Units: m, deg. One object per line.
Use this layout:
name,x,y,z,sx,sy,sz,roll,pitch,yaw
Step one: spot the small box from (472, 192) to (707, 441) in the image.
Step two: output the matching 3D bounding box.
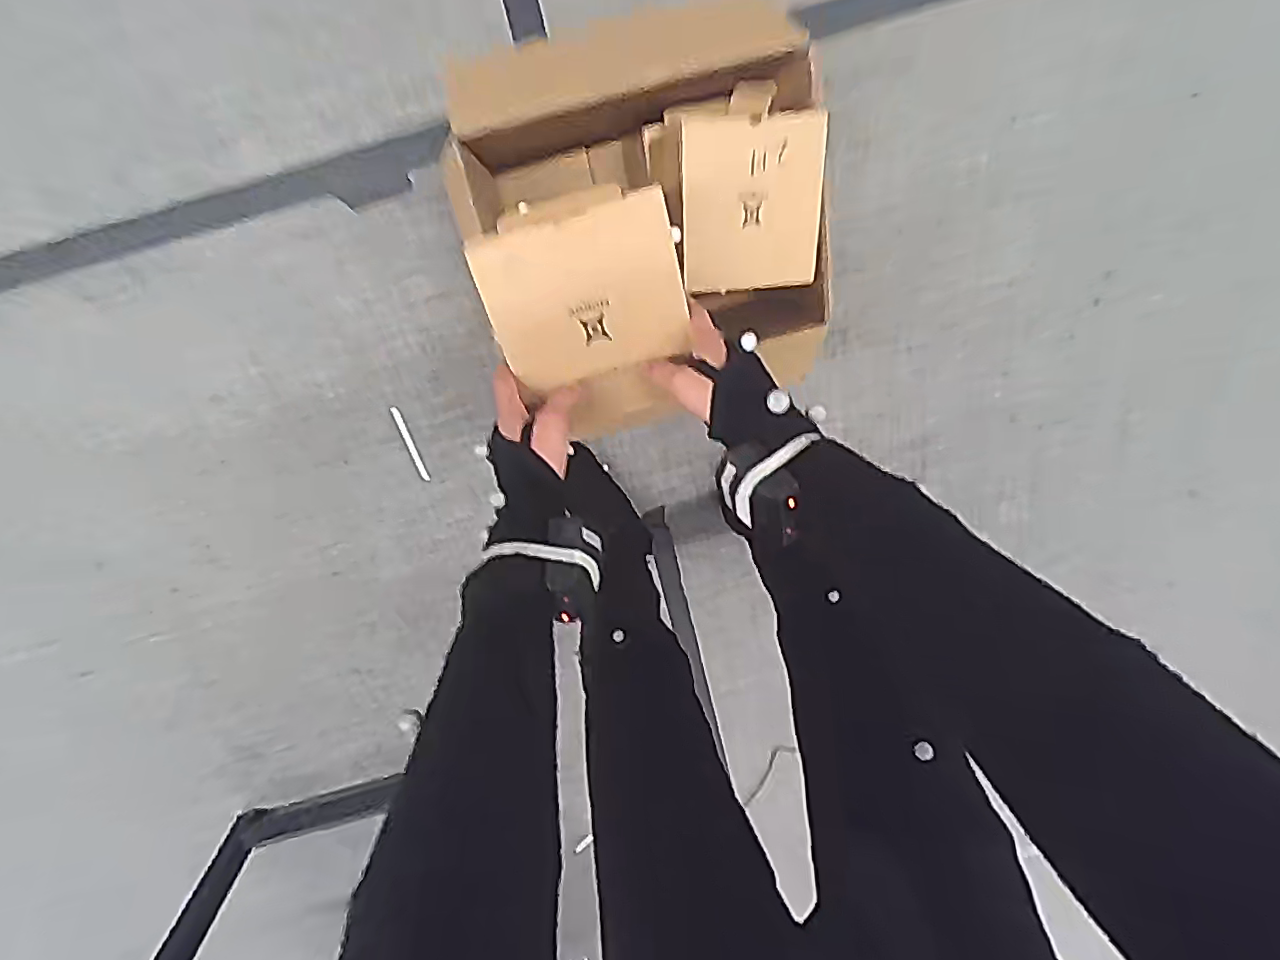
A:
small box,-0.043,-0.165,0.535,0.168,0.176,0.179,-15,117,4
